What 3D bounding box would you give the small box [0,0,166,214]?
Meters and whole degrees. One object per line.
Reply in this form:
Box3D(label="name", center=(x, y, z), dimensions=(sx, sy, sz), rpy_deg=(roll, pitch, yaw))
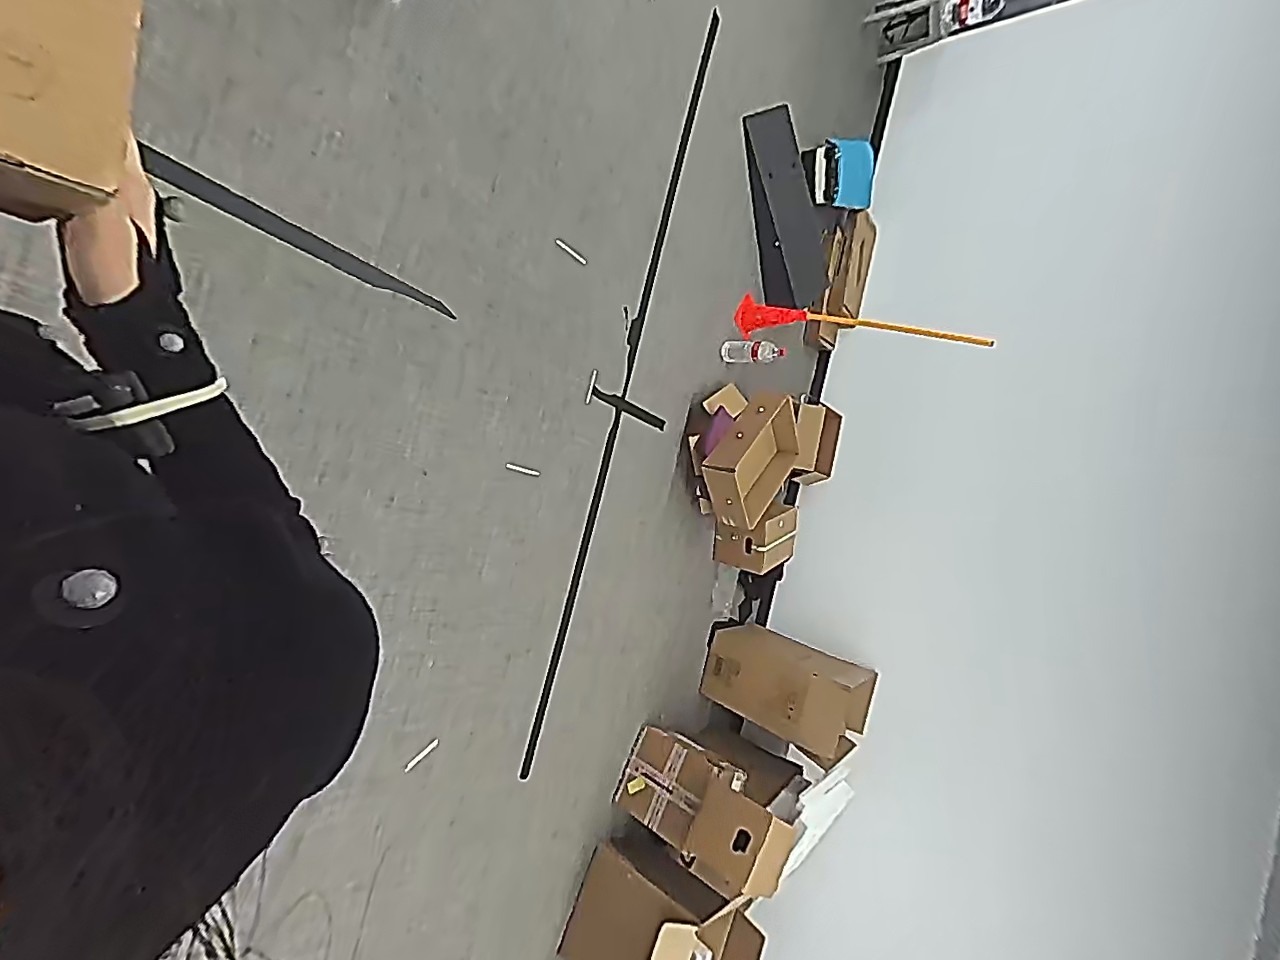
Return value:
Box3D(label="small box", center=(-0.332, -0.232, 0.226), dimensions=(0.168, 0.176, 0.179), rpy_deg=(4, 99, -58))
